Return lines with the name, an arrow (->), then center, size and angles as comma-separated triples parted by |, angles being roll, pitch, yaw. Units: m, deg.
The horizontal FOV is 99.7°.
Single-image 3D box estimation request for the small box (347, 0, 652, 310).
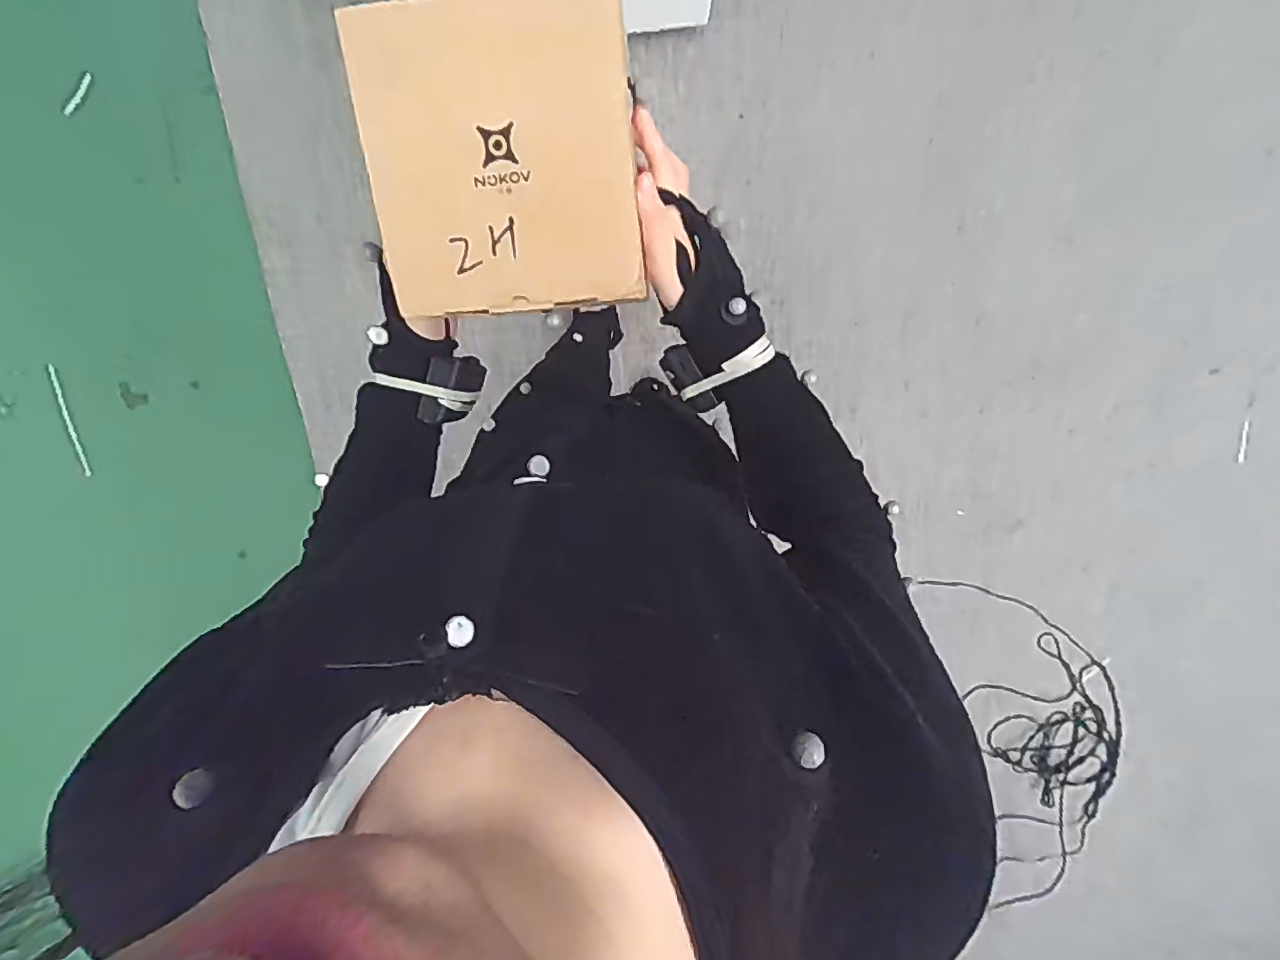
small box -> -0.079, -0.226, 0.404 | 0.168, 0.176, 0.179 | -4, 107, 4
